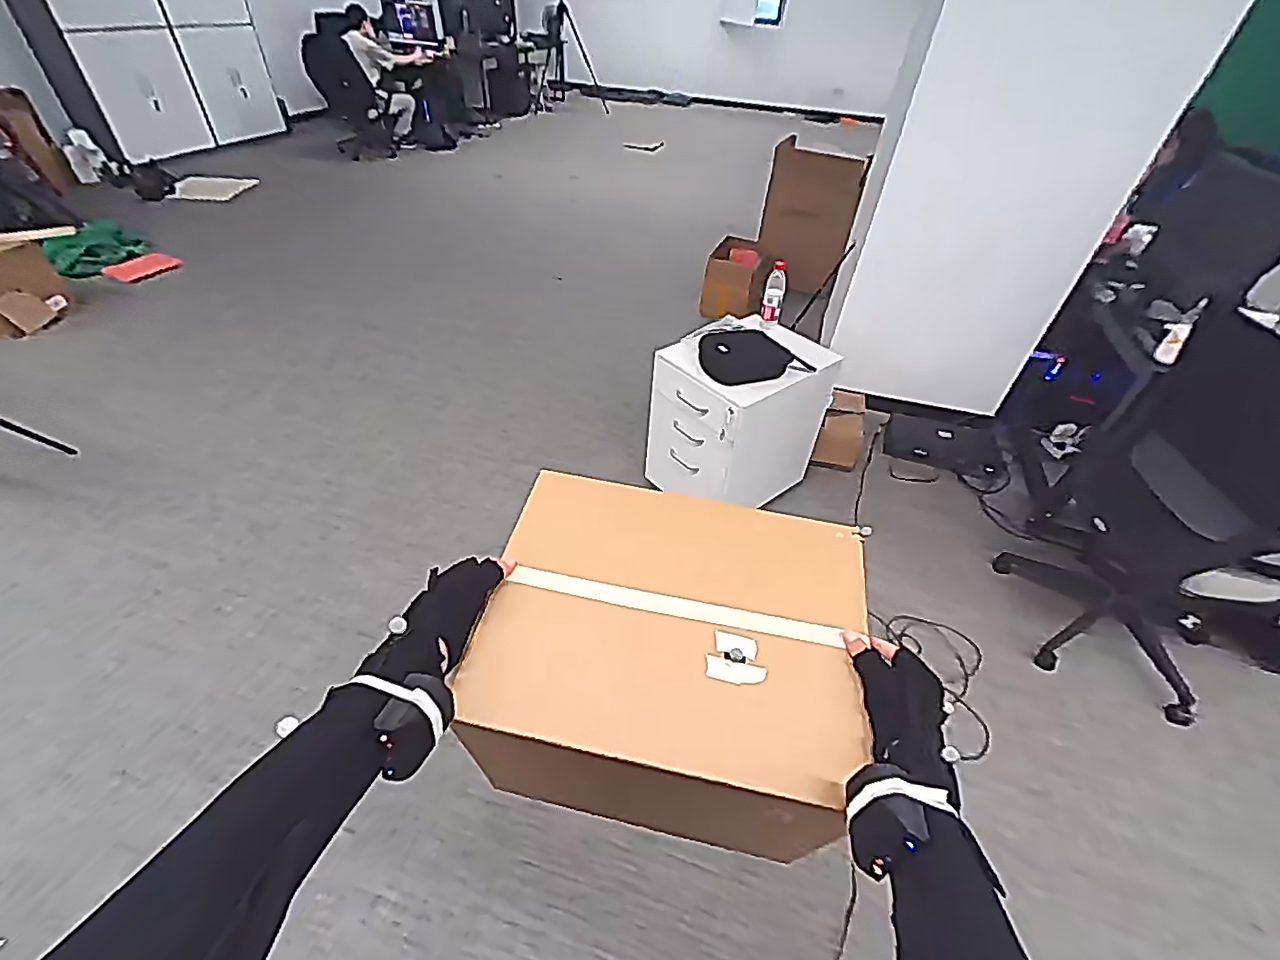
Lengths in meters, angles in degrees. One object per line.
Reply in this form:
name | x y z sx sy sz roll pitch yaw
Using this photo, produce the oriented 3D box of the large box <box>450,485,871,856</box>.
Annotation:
large box | 0.029 0.247 0.704 0.408 0.320 0.320 10 50 5
